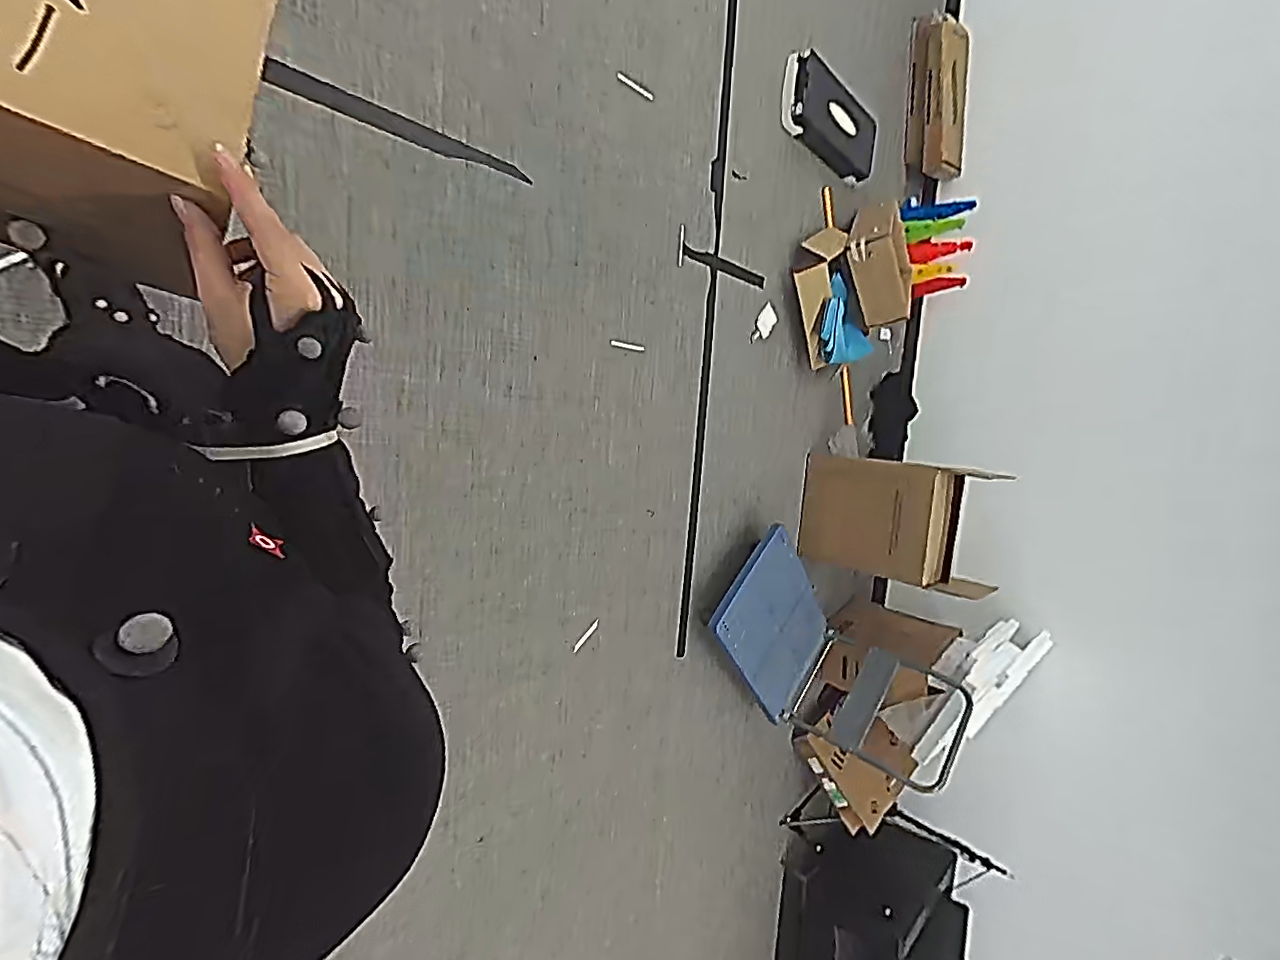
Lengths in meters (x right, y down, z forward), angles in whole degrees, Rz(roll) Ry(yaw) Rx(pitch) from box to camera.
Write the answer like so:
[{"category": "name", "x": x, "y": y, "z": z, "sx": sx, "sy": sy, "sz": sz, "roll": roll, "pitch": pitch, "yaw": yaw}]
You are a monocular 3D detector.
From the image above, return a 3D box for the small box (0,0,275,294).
[{"category": "small box", "x": -0.345, "y": -0.246, "z": 0.327, "sx": 0.168, "sy": 0.176, "sz": 0.179, "roll": 12, "pitch": 76, "yaw": -42}]
